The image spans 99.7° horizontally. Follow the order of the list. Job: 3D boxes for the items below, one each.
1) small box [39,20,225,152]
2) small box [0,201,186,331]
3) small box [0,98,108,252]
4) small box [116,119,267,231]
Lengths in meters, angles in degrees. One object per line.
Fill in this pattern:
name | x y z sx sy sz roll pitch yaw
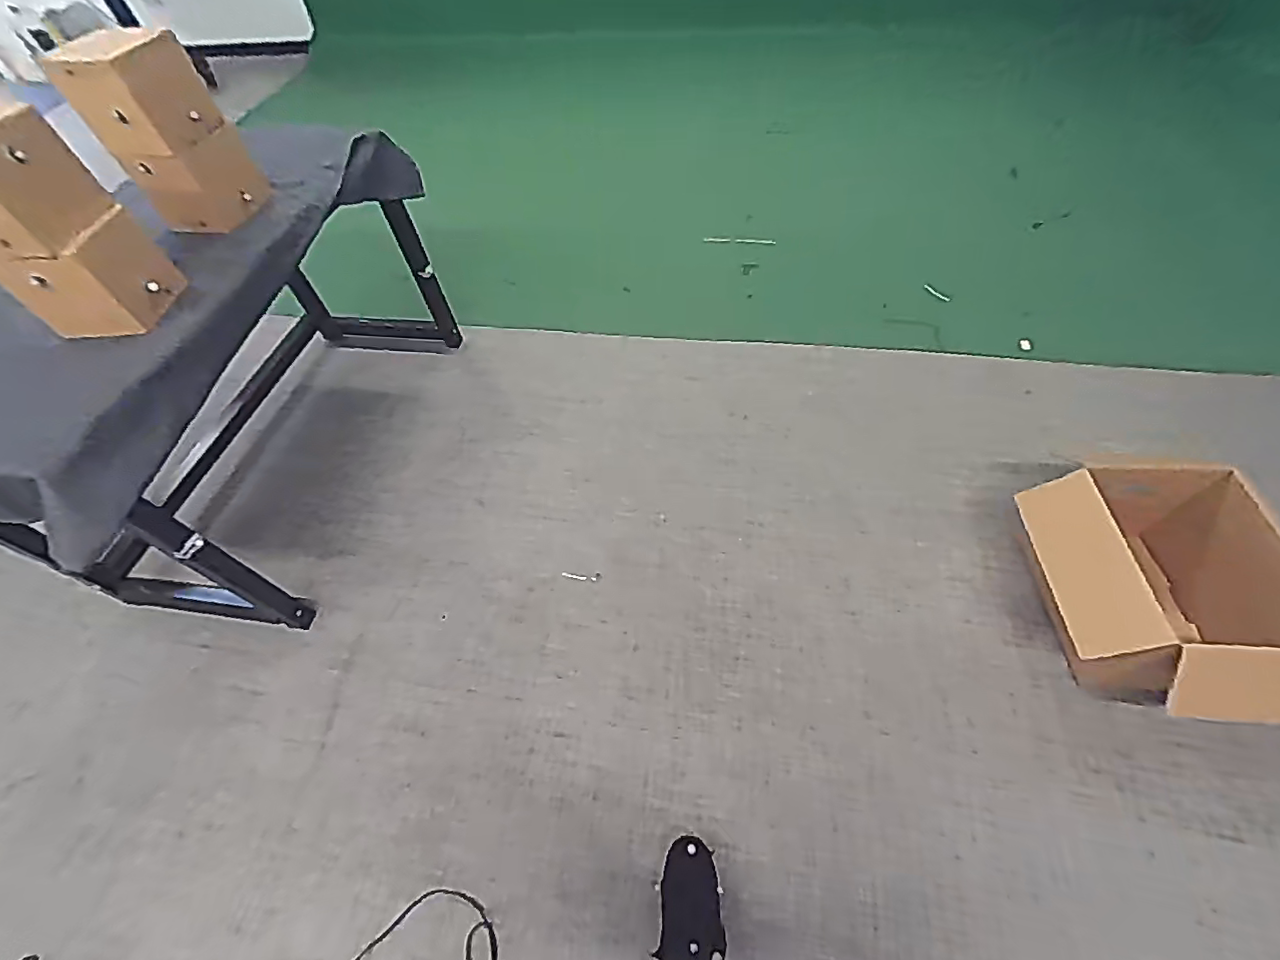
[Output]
small box | -1.009 -0.787 1.084 0.168 0.176 0.179 7 56 10
small box | -1.027 -0.395 1.013 0.179 0.176 0.168 -2 55 3
small box | -1.052 -0.493 0.885 0.168 0.176 0.179 2 54 4
small box | -0.995 -0.691 1.222 0.168 0.176 0.179 7 55 9
